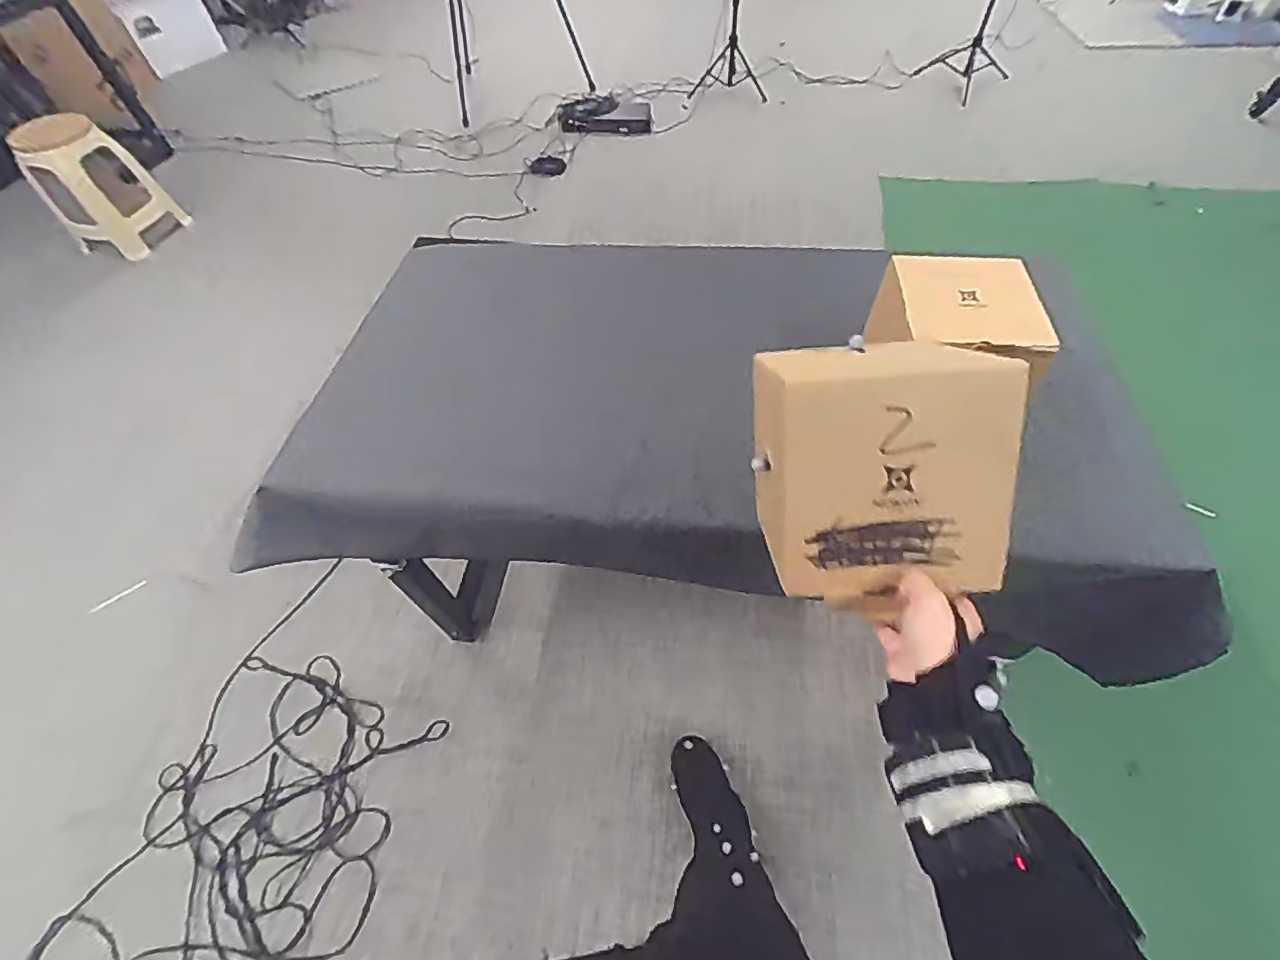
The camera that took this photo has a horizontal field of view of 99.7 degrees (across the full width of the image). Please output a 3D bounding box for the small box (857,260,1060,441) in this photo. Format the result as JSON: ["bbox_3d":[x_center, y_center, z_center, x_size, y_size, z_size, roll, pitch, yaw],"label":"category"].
[{"bbox_3d":[0.407,-0.170,0.729,0.168,0.176,0.179,4,54,5],"label":"small box"}]
